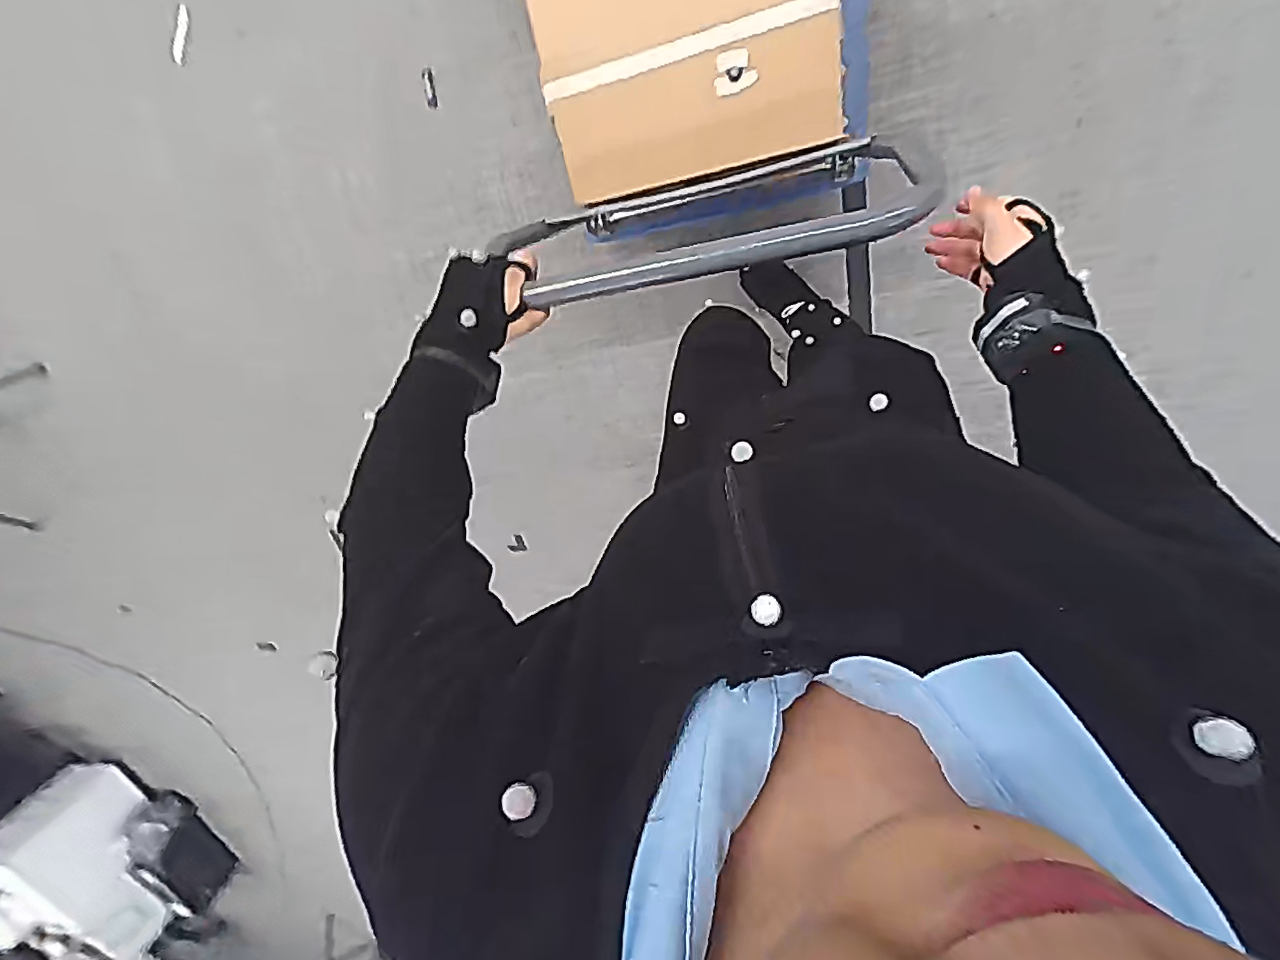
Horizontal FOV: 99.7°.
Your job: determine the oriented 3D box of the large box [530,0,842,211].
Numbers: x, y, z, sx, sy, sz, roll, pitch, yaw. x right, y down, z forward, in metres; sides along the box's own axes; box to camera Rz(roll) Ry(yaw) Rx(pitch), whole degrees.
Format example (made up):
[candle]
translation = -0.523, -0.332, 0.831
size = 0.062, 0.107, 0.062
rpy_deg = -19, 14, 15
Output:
[large box]
translation = 0.088, -0.657, 0.884
size = 0.408, 0.320, 0.320
rpy_deg = -7, 116, 15
